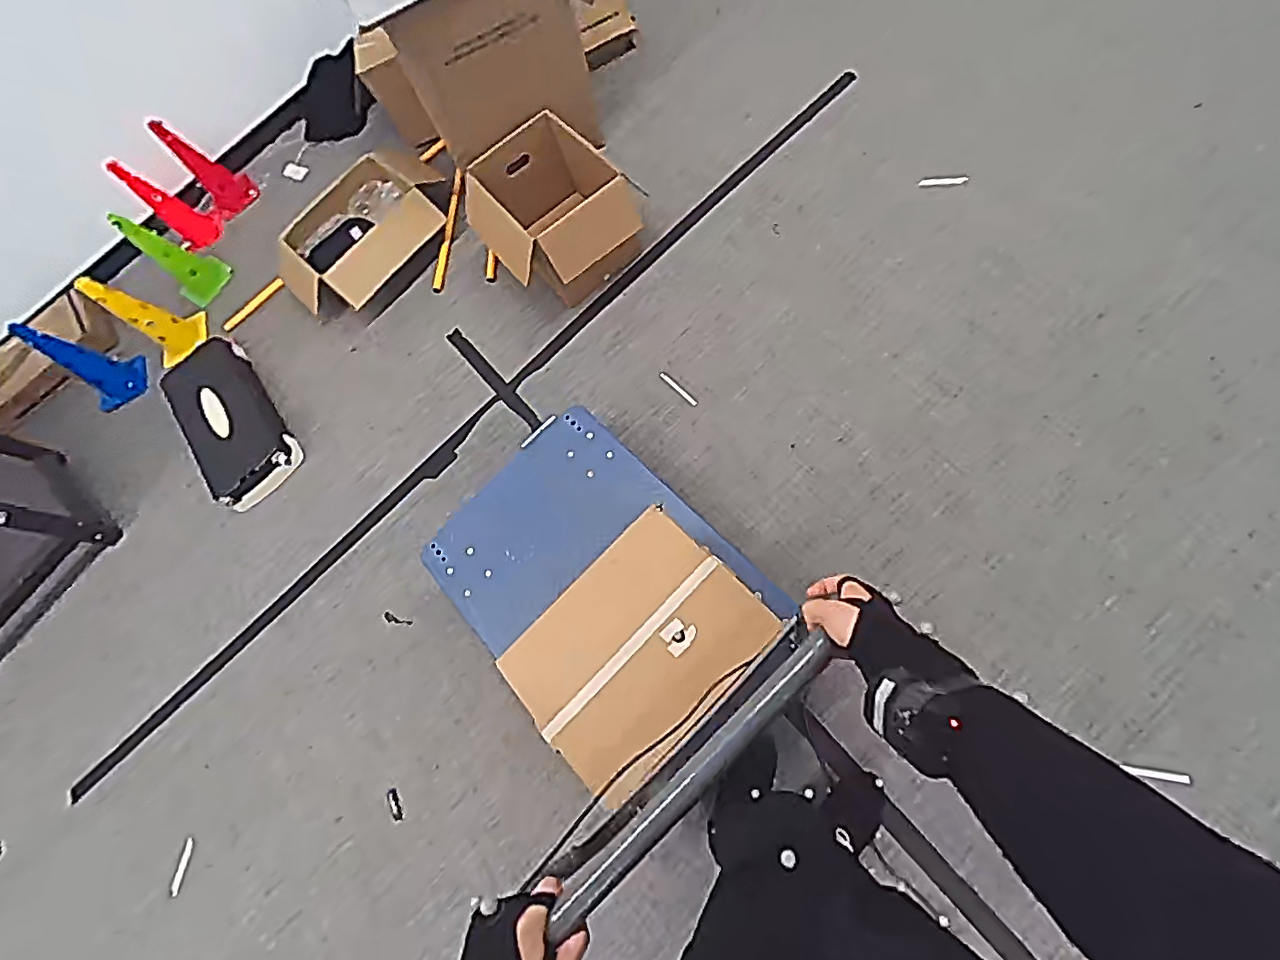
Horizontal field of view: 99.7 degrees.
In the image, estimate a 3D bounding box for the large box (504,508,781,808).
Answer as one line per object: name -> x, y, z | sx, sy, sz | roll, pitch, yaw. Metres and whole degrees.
large box -> 0.025, 0.335, 1.057 | 0.408, 0.320, 0.320 | -45, 67, -6
